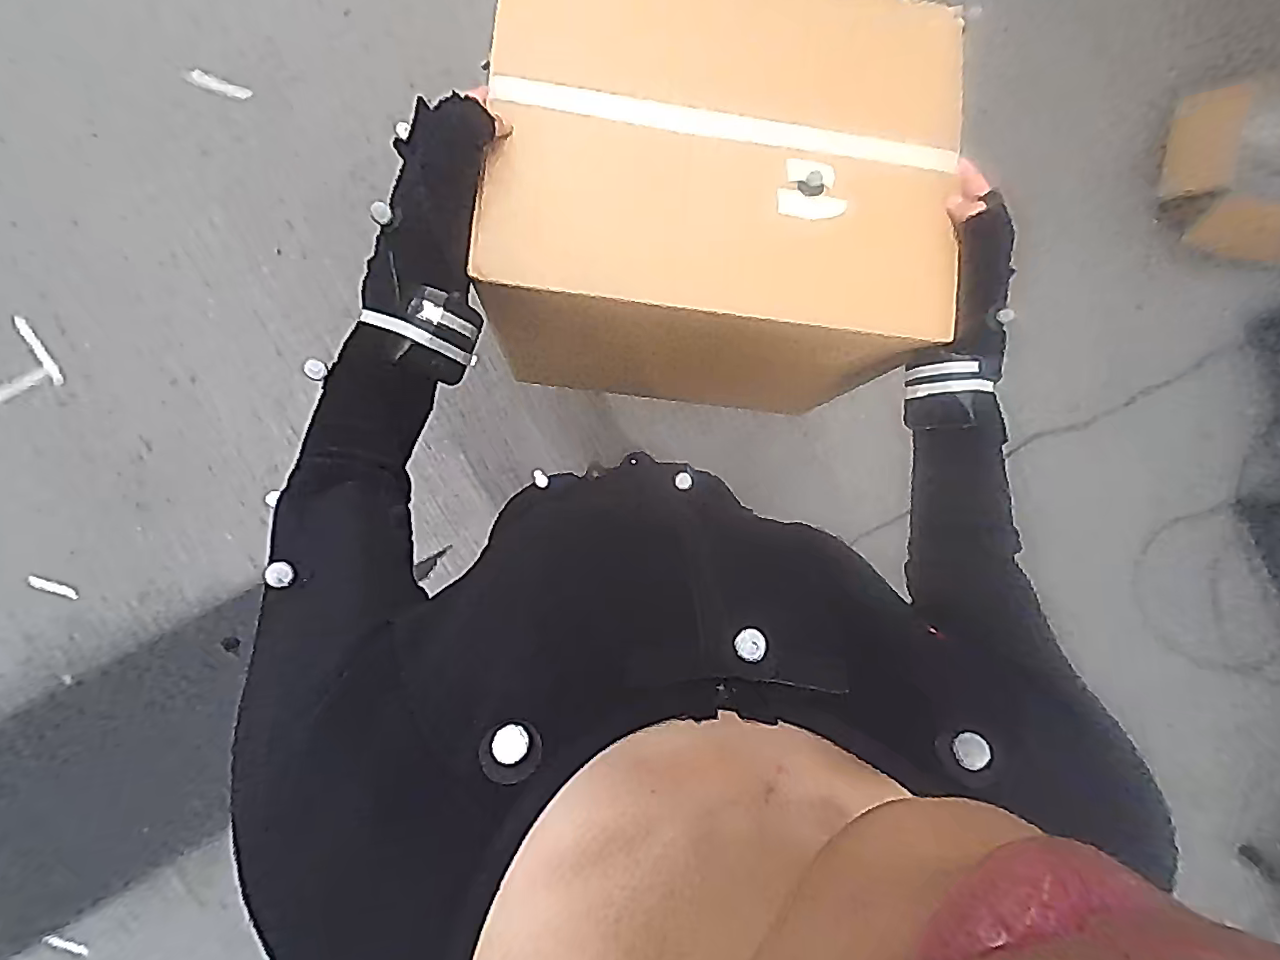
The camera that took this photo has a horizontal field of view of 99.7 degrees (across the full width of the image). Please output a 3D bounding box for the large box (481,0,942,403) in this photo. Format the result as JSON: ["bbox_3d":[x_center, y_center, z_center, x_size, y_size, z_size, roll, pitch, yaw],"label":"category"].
[{"bbox_3d":[0.056,-0.284,0.616,0.408,0.320,0.320,5,85,-7],"label":"large box"}]
